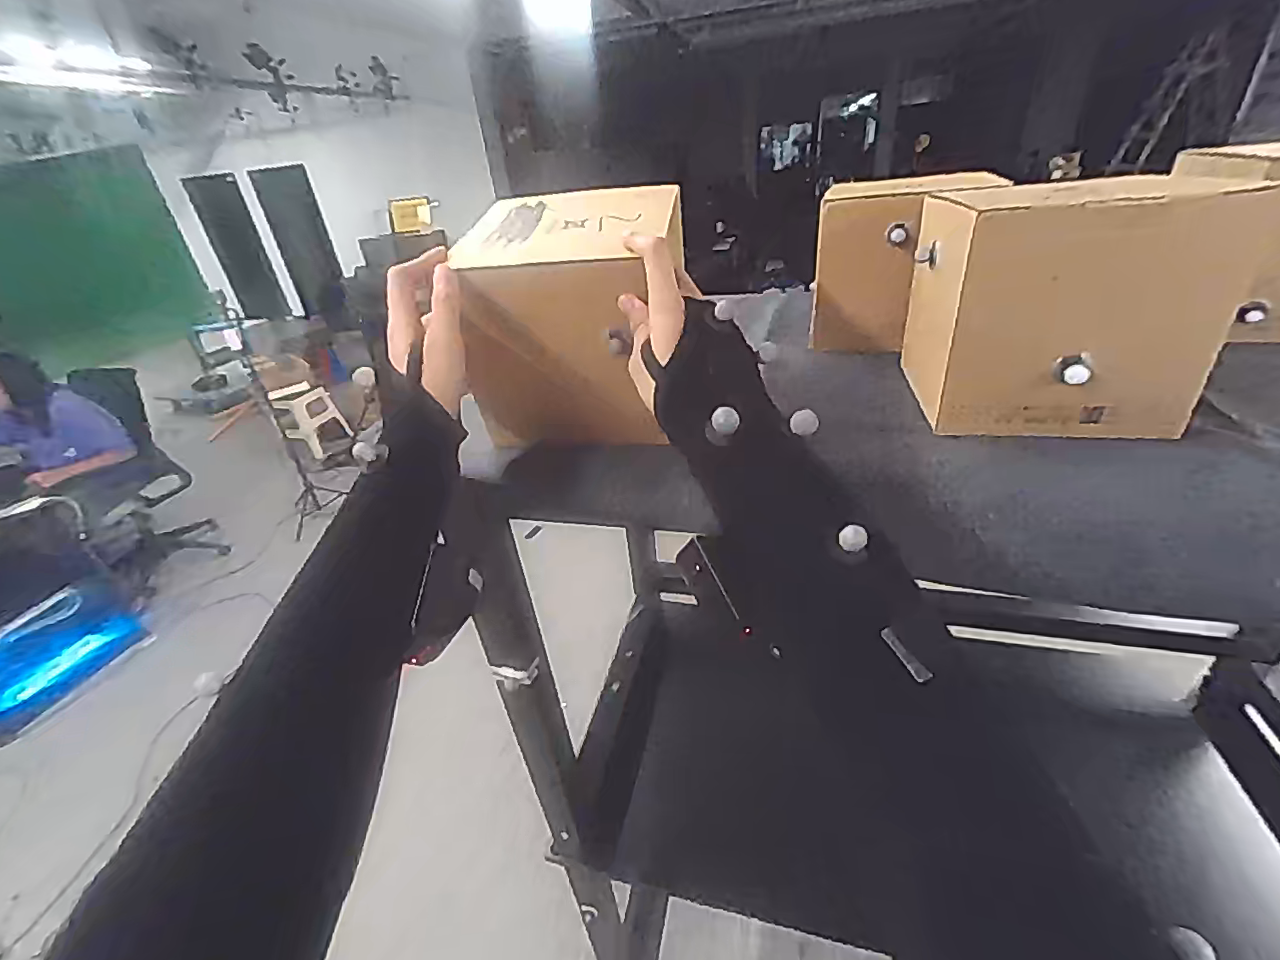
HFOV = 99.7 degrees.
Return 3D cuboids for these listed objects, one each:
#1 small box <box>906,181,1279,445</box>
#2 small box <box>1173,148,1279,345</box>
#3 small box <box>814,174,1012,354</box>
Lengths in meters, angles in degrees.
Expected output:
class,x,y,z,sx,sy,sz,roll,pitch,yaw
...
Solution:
class,x,y,z,sx,sy,sz,roll,pitch,yaw
small box,0.332,-0.144,0.449,0.168,0.176,0.179,3,31,15
small box,0.666,-0.242,0.555,0.168,0.176,0.179,5,32,18
small box,0.310,-0.254,0.642,0.179,0.176,0.168,6,33,20
